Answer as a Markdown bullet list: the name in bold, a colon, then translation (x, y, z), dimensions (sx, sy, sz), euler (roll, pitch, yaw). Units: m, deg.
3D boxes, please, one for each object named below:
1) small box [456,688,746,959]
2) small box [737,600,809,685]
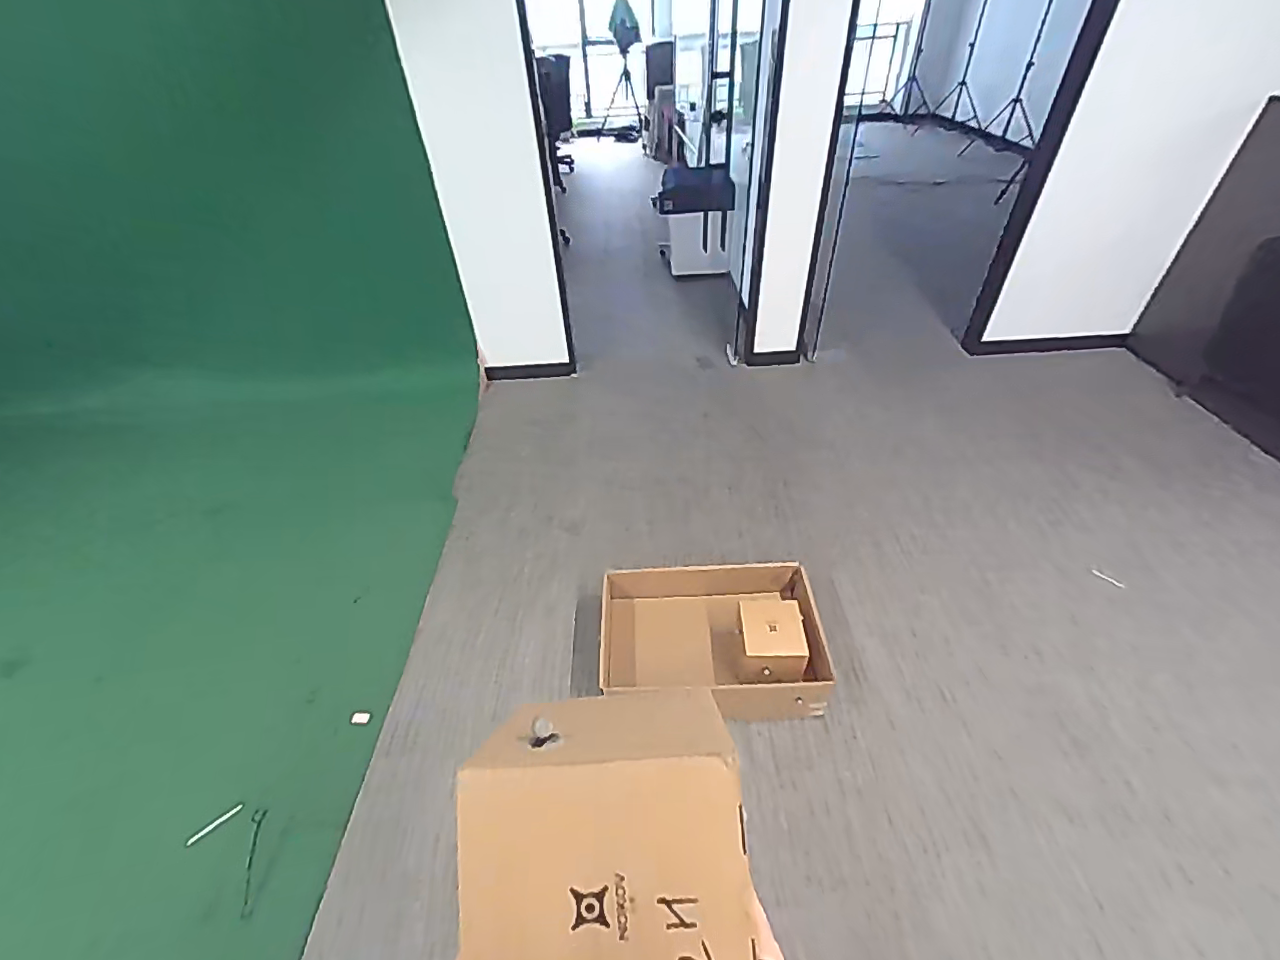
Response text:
- **small box**: translation (-0.023, 0.261, 0.406), dimensions (0.179, 0.176, 0.168), euler (-3, 81, 1)
- **small box**: translation (0.368, 0.461, 1.526), dimensions (0.168, 0.176, 0.179), euler (-1, 42, 3)
